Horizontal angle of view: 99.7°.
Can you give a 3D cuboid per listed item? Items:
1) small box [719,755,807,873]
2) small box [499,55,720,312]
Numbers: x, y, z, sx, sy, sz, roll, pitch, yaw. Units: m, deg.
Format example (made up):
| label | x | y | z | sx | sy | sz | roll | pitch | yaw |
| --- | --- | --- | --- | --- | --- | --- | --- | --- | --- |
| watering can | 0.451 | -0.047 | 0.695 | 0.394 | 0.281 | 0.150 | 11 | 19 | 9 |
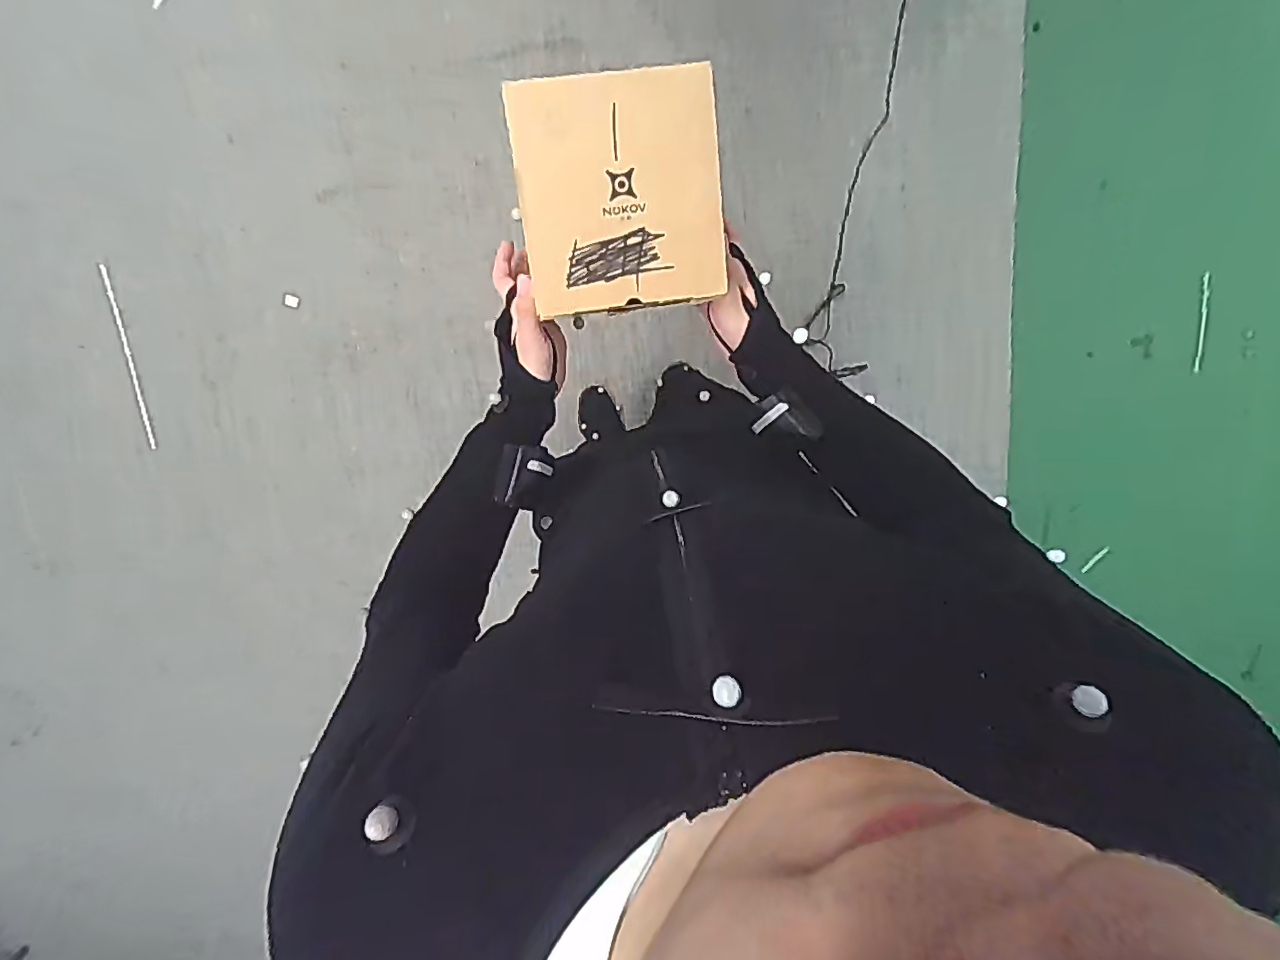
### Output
| label | x | y | z | sx | sy | sz | roll | pitch | yaw |
| --- | --- | --- | --- | --- | --- | --- | --- | --- | --- |
| small box | 0.288 | 0.796 | 1.299 | 0.168 | 0.176 | 0.179 | -1 | 100 | -4 |
| small box | -0.023 | -0.259 | 0.512 | 0.168 | 0.176 | 0.179 | -7 | 108 | -2 |
